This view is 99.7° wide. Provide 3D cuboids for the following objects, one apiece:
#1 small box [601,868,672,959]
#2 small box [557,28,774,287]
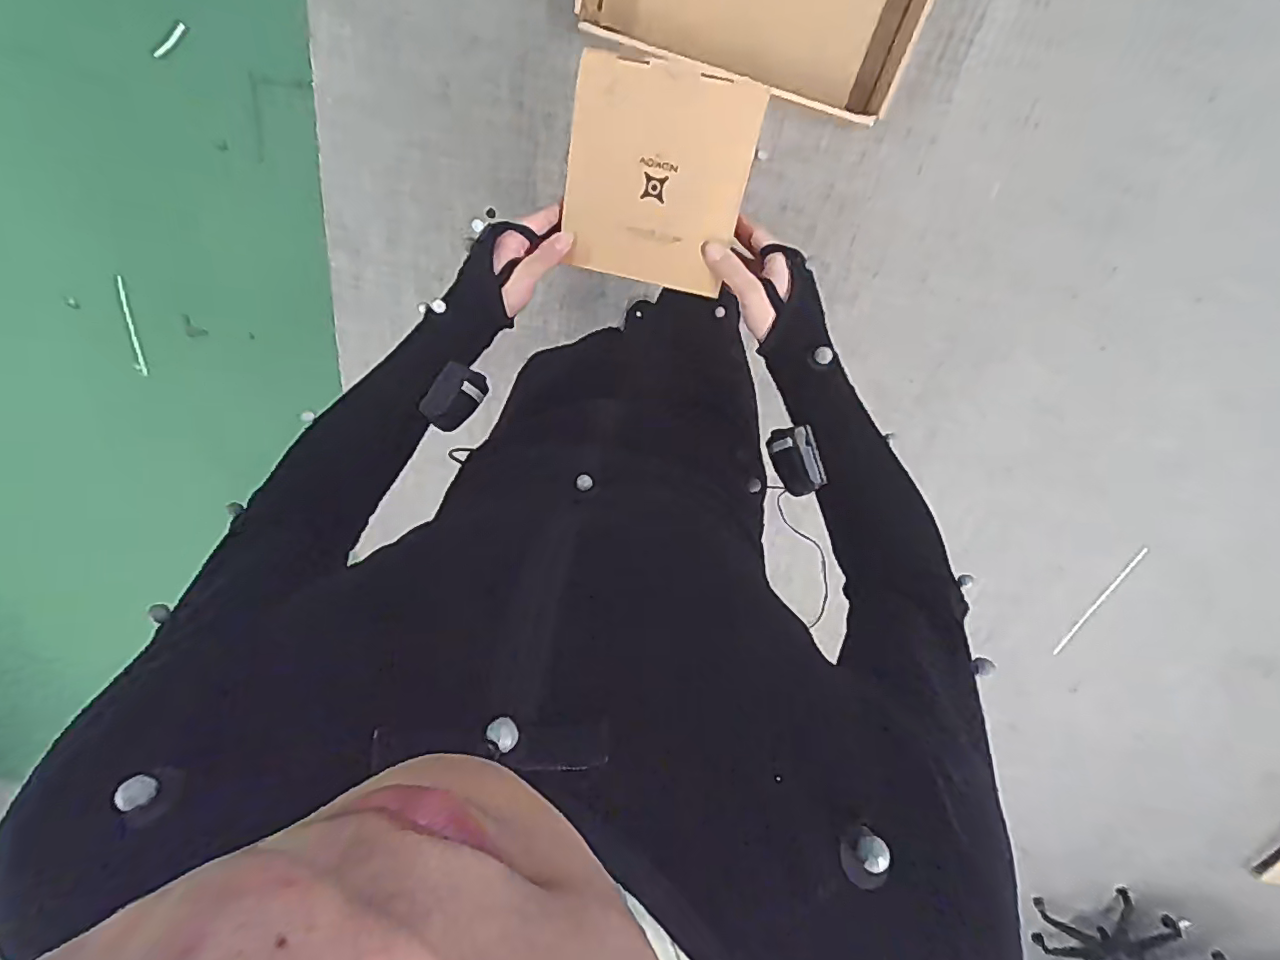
[{"bbox_3d":[-0.005,1.212,1.487,0.168,0.176,0.179,9,120,3],"label":"small box"},{"bbox_3d":[0.025,-0.315,0.553,0.168,0.176,0.179,14,119,2],"label":"small box"}]
